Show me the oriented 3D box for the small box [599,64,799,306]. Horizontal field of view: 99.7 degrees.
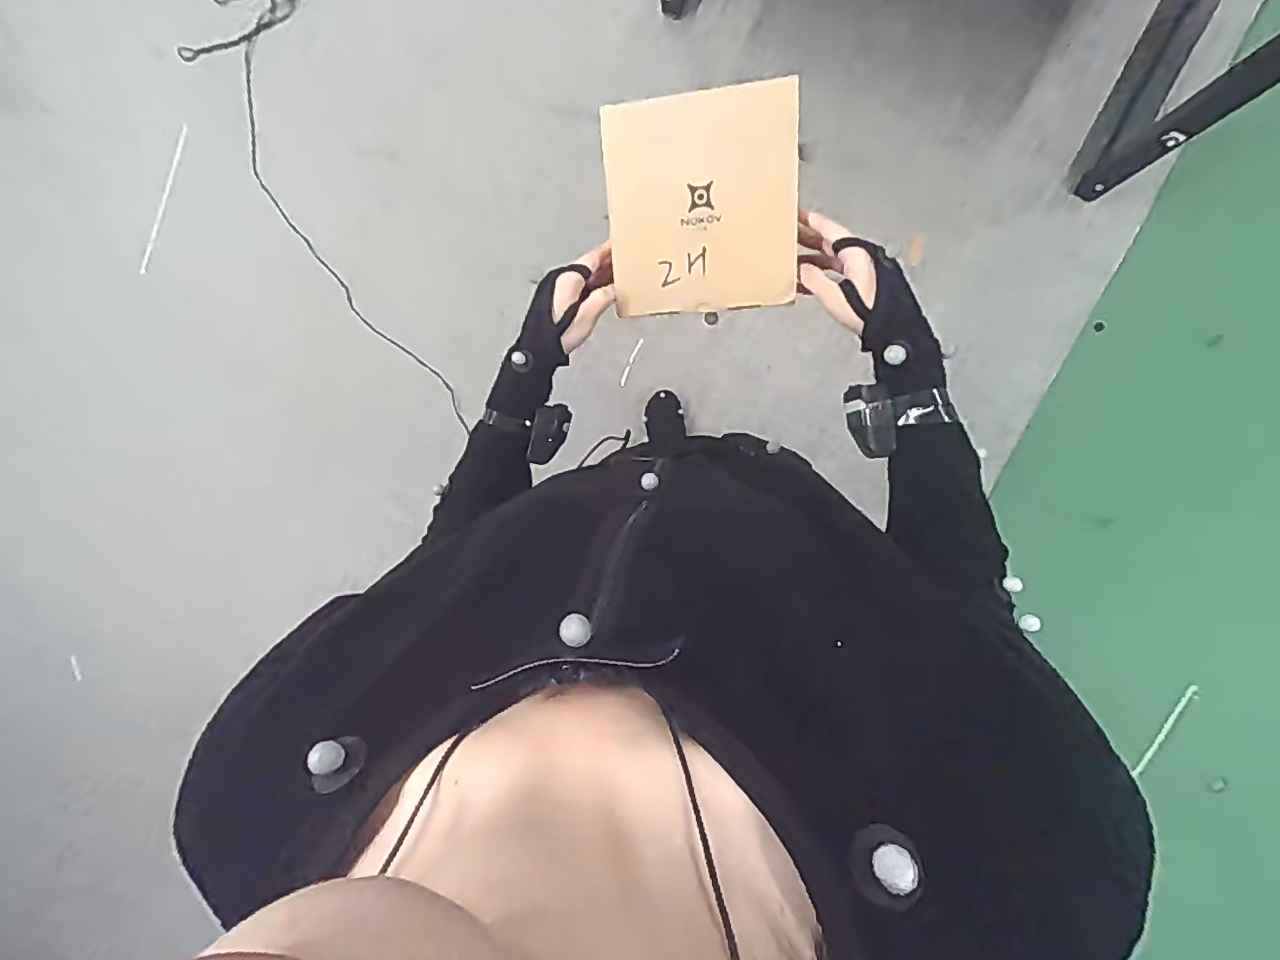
[{"bbox_3d":[0.063,-0.269,0.538,0.168,0.176,0.179,0,109,12],"label":"small box"}]
